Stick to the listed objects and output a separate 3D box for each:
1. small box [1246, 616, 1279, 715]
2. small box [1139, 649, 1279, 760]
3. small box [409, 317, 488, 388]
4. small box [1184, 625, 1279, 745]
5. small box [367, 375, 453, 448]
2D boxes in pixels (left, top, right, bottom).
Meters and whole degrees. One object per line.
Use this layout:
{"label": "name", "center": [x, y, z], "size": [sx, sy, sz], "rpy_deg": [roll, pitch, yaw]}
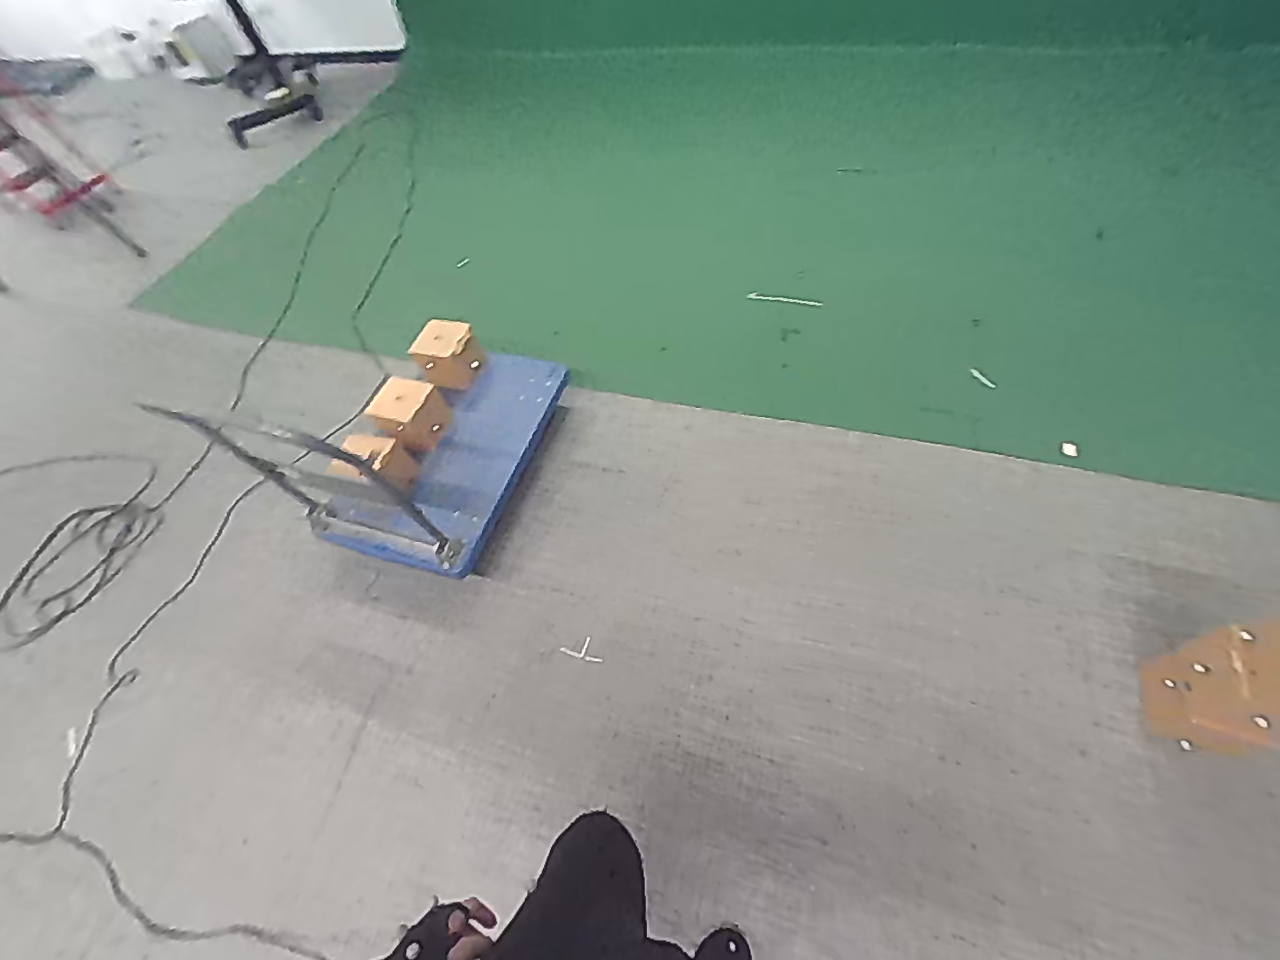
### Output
{"label": "small box", "center": [1.280, 0.354, 0.990], "size": [0.179, 0.176, 0.168], "rpy_deg": [15, 60, 17]}
{"label": "small box", "center": [1.318, 0.529, 1.265], "size": [0.168, 0.176, 0.179], "rpy_deg": [16, 61, 19]}
{"label": "small box", "center": [-0.691, -0.460, 1.968], "size": [0.179, 0.176, 0.168], "rpy_deg": [18, 65, 17]}
{"label": "small box", "center": [1.296, 0.434, 1.134], "size": [0.179, 0.176, 0.168], "rpy_deg": [15, 60, 19]}
{"label": "small box", "center": [-0.774, -0.230, 1.838], "size": [0.179, 0.176, 0.168], "rpy_deg": [13, 60, 14]}
